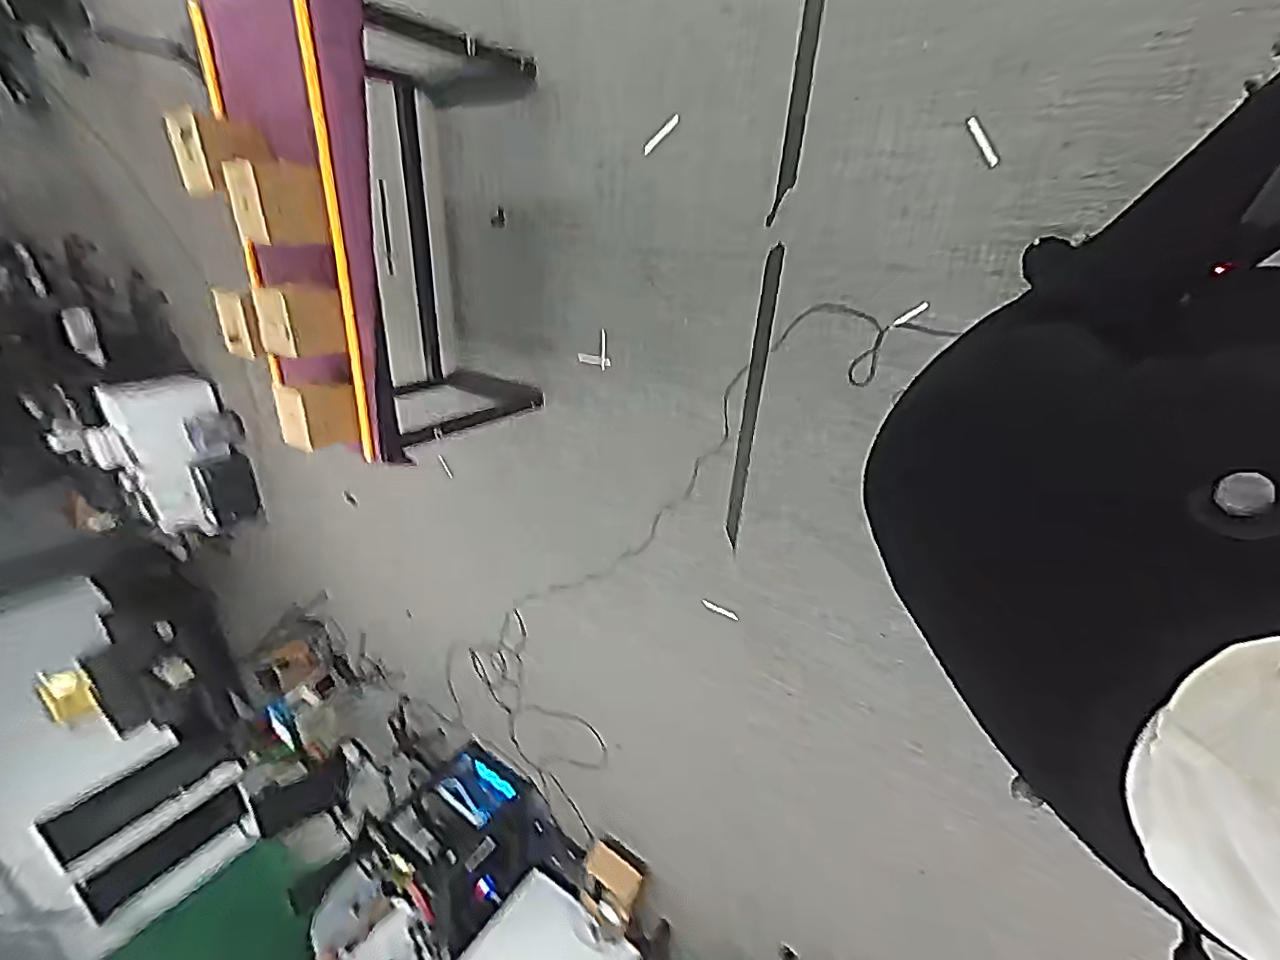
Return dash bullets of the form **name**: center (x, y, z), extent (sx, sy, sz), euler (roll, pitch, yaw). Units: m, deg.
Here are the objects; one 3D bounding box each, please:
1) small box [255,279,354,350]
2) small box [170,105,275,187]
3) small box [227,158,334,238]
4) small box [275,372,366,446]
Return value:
- **small box**: center (-0.950, -0.476, 1.540), extent (0.179, 0.176, 0.168), euler (19, 120, 29)
- **small box**: center (-1.137, -0.911, 1.493), extent (0.168, 0.176, 0.179), euler (16, 119, 29)
- **small box**: center (-0.931, -0.734, 1.416), extent (0.168, 0.176, 0.179), euler (18, 119, 31)
- **small box**: center (-0.977, -0.227, 1.664), extent (0.168, 0.176, 0.179), euler (18, 119, 30)
